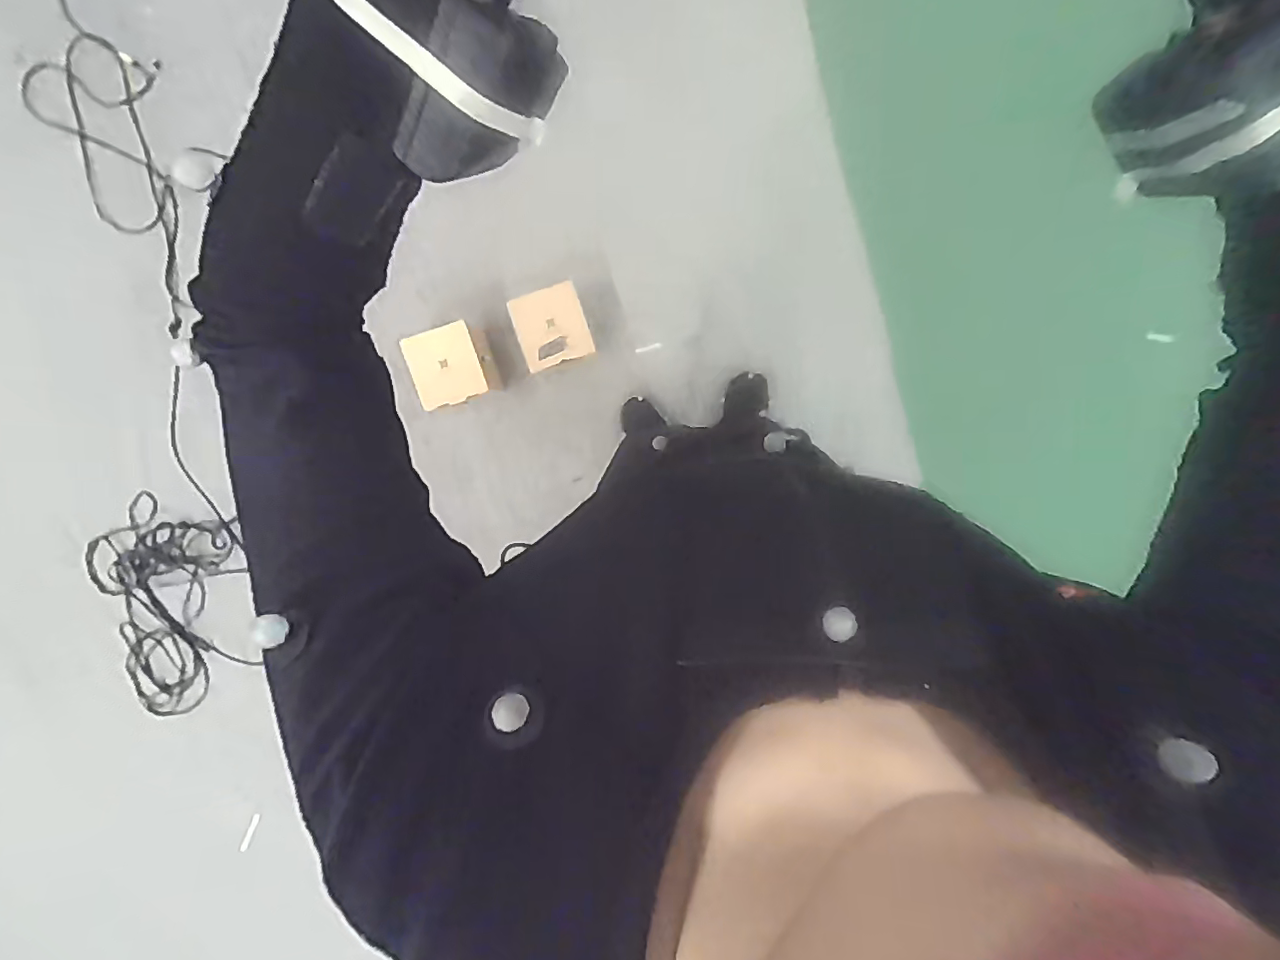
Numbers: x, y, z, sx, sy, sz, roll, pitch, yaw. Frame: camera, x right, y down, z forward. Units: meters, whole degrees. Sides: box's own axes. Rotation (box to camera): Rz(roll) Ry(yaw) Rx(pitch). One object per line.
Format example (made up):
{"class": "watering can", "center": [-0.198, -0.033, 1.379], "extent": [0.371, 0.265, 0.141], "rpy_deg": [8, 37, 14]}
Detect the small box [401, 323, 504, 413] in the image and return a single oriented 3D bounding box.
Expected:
{"class": "small box", "center": [-0.460, -0.272, 1.353], "extent": [0.168, 0.176, 0.179], "rpy_deg": [-18, 98, 3]}

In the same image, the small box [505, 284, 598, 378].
{"class": "small box", "center": [-0.209, -0.360, 1.339], "extent": [0.168, 0.176, 0.179], "rpy_deg": [-19, 97, 2]}
